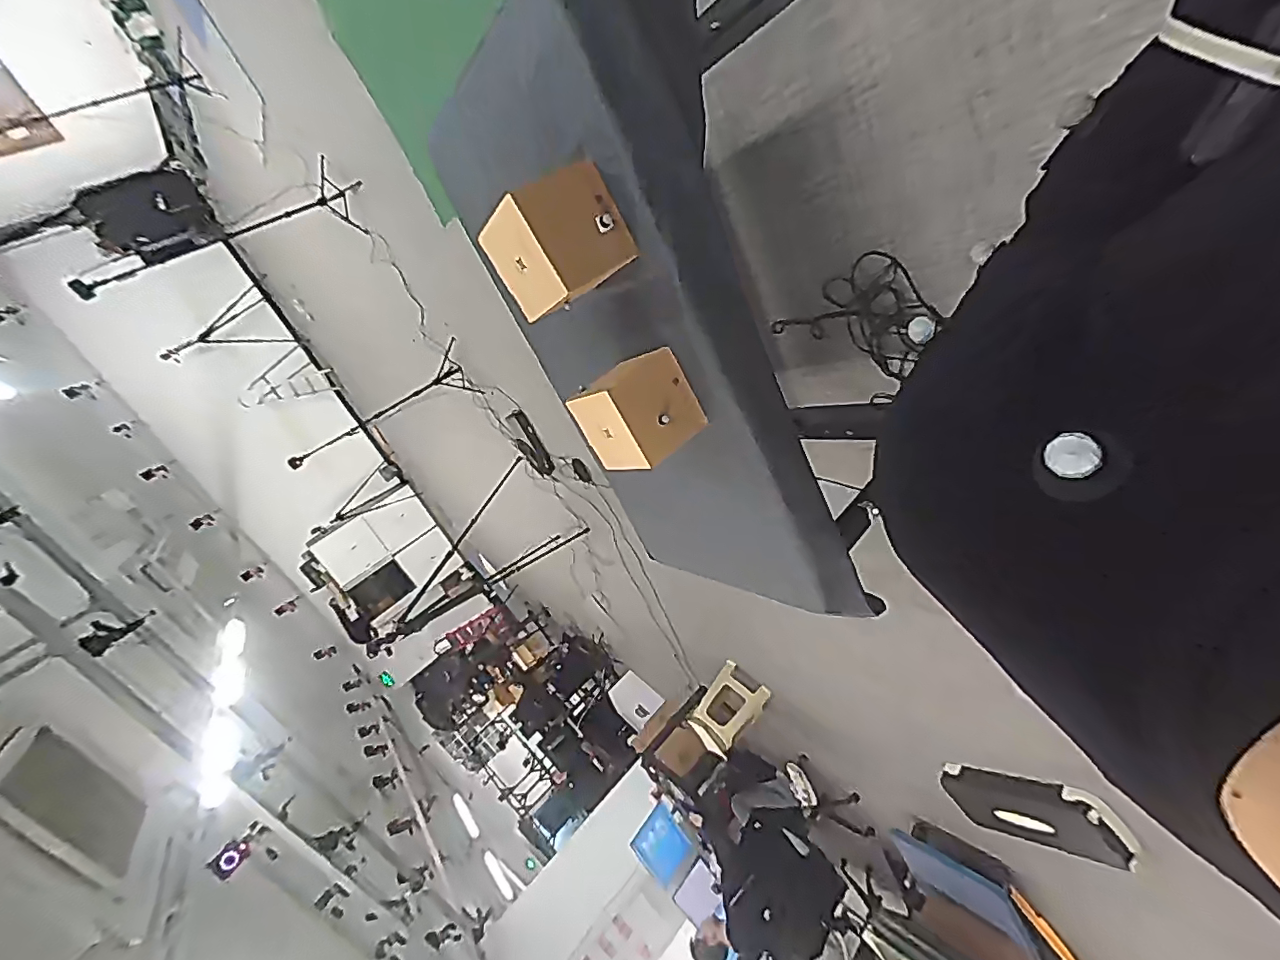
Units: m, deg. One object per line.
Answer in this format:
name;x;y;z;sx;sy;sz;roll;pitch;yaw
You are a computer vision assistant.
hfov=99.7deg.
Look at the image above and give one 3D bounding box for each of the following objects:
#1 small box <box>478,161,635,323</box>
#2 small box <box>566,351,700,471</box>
small box;-0.139;-0.396;0.913;0.179;0.176;0.168;-4;123;58
small box;-0.006;-0.132;1.050;0.179;0.176;0.168;0;125;58
